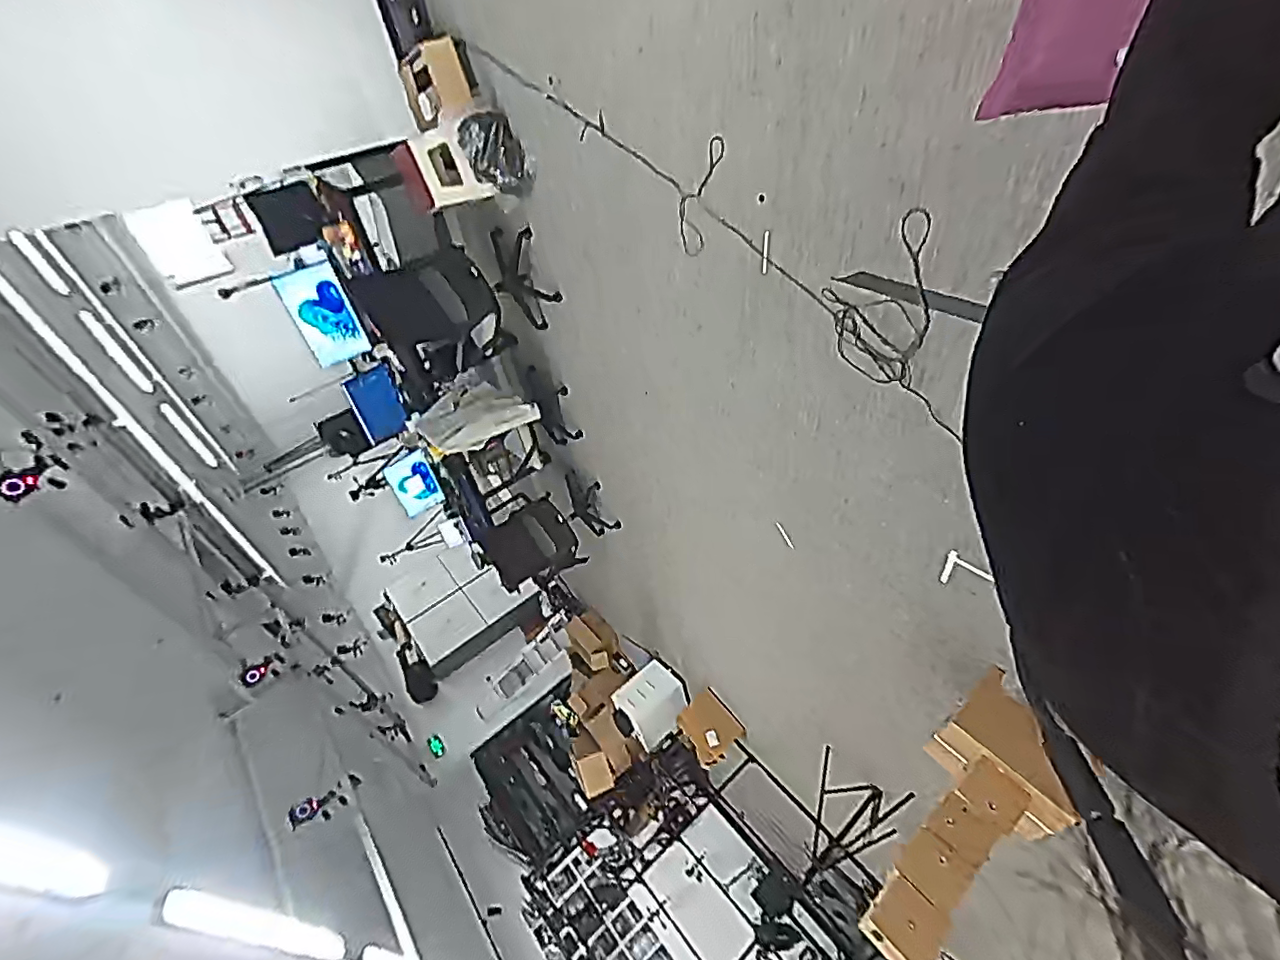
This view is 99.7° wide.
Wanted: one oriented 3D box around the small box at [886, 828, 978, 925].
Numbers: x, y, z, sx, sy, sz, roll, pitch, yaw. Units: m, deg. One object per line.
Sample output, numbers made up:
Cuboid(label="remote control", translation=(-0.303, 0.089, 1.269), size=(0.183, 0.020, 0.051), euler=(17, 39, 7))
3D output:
Cuboid(label="small box", translation=(0.913, 1.232, 1.695), size=(0.179, 0.176, 0.168), euler=(36, 149, 38))

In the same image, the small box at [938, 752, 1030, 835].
Cuboid(label="small box", translation=(1.159, 1.058, 1.819), size=(0.179, 0.176, 0.168), euler=(42, 152, 30))

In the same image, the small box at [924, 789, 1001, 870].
Cuboid(label="small box", translation=(1.041, 1.154, 1.760), size=(0.168, 0.176, 0.179), euler=(32, 147, 43))
